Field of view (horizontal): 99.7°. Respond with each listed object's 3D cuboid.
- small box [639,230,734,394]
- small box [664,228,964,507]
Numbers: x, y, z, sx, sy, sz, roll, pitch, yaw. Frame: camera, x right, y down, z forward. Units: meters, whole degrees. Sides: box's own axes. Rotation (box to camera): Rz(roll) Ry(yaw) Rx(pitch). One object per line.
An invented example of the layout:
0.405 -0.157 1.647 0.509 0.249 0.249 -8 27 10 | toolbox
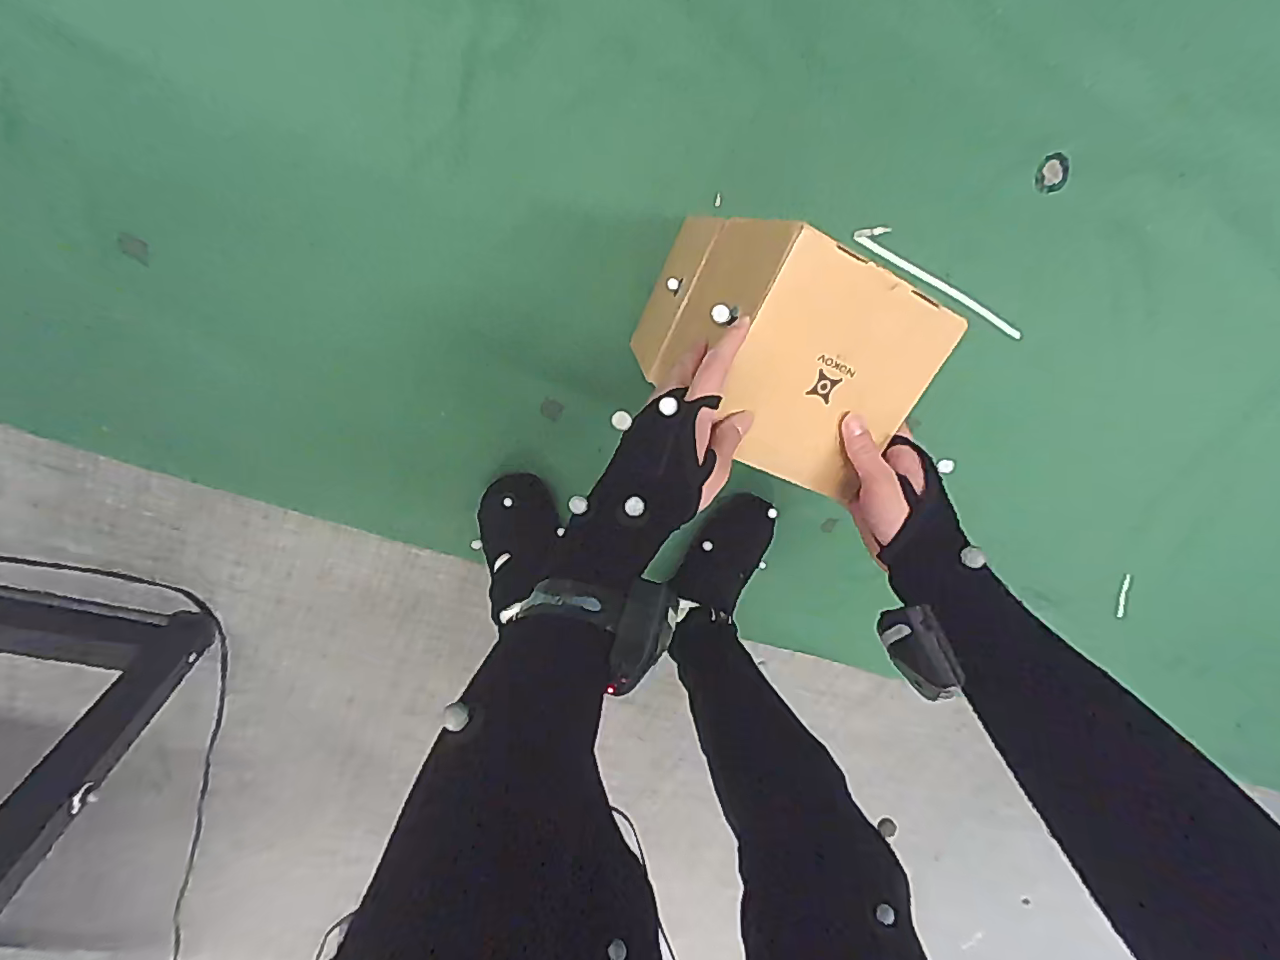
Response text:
0.108 -0.182 0.650 0.168 0.176 0.179 20 113 -16 | small box
0.134 -0.108 0.496 0.168 0.176 0.179 20 110 -18 | small box
